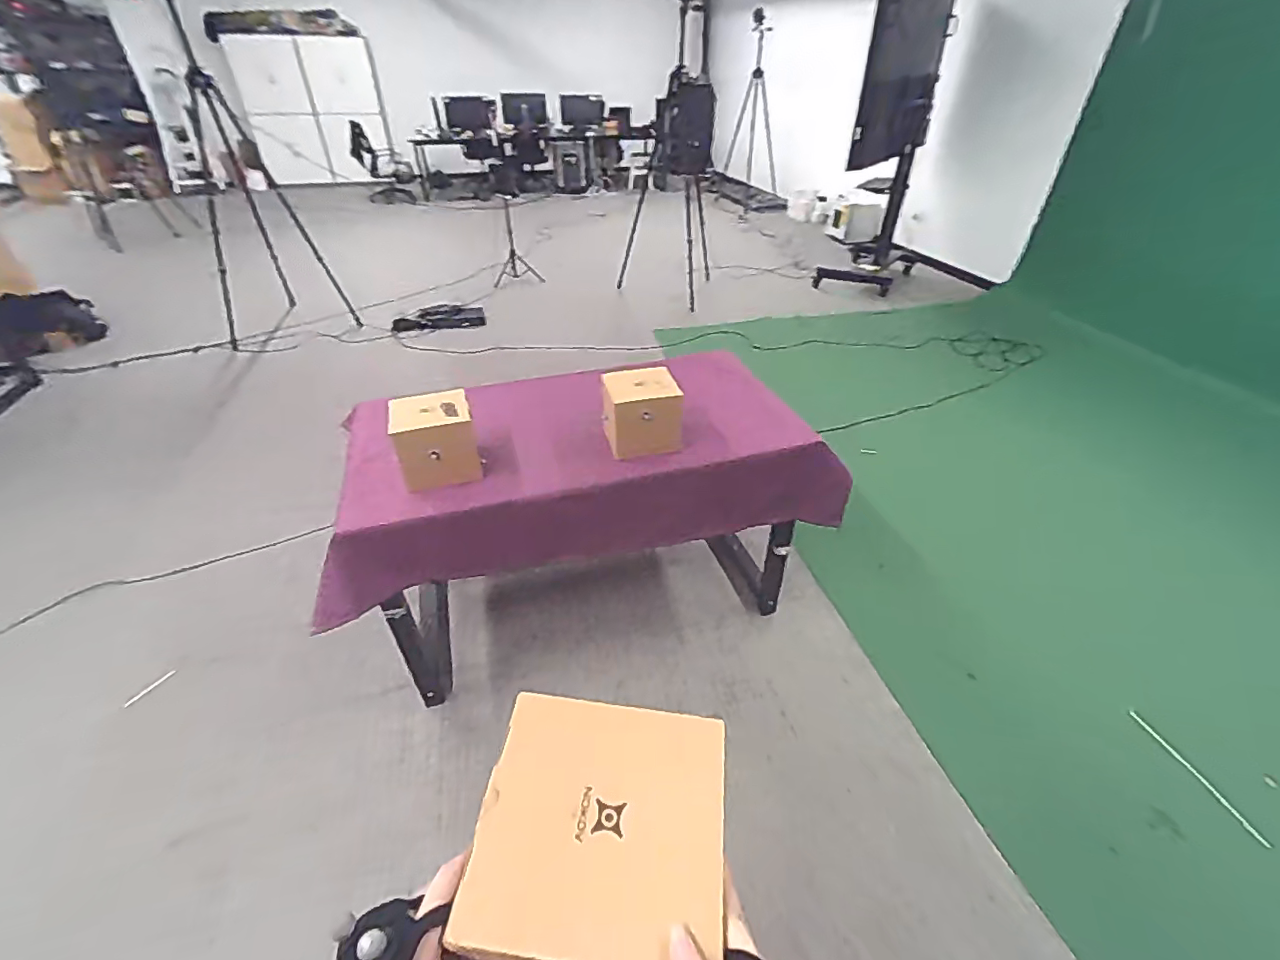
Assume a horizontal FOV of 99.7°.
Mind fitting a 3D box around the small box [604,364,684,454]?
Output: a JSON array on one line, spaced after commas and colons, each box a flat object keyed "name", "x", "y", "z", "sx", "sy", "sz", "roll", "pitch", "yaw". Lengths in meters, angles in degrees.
[{"name": "small box", "x": 0.008, "y": -0.181, "z": 1.397, "sx": 0.179, "sy": 0.176, "sz": 0.168, "roll": -8, "pitch": 39, "yaw": -10}]

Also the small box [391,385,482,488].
[{"name": "small box", "x": -0.482, "y": -0.104, "z": 1.298, "sx": 0.179, "sy": 0.176, "sz": 0.168, "roll": -13, "pitch": 39, "yaw": -15}]

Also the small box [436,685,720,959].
[{"name": "small box", "x": -0.034, "y": 0.295, "z": 0.441, "sx": 0.179, "sy": 0.176, "sz": 0.168, "roll": 6, "pitch": 41, "yaw": 5}]
